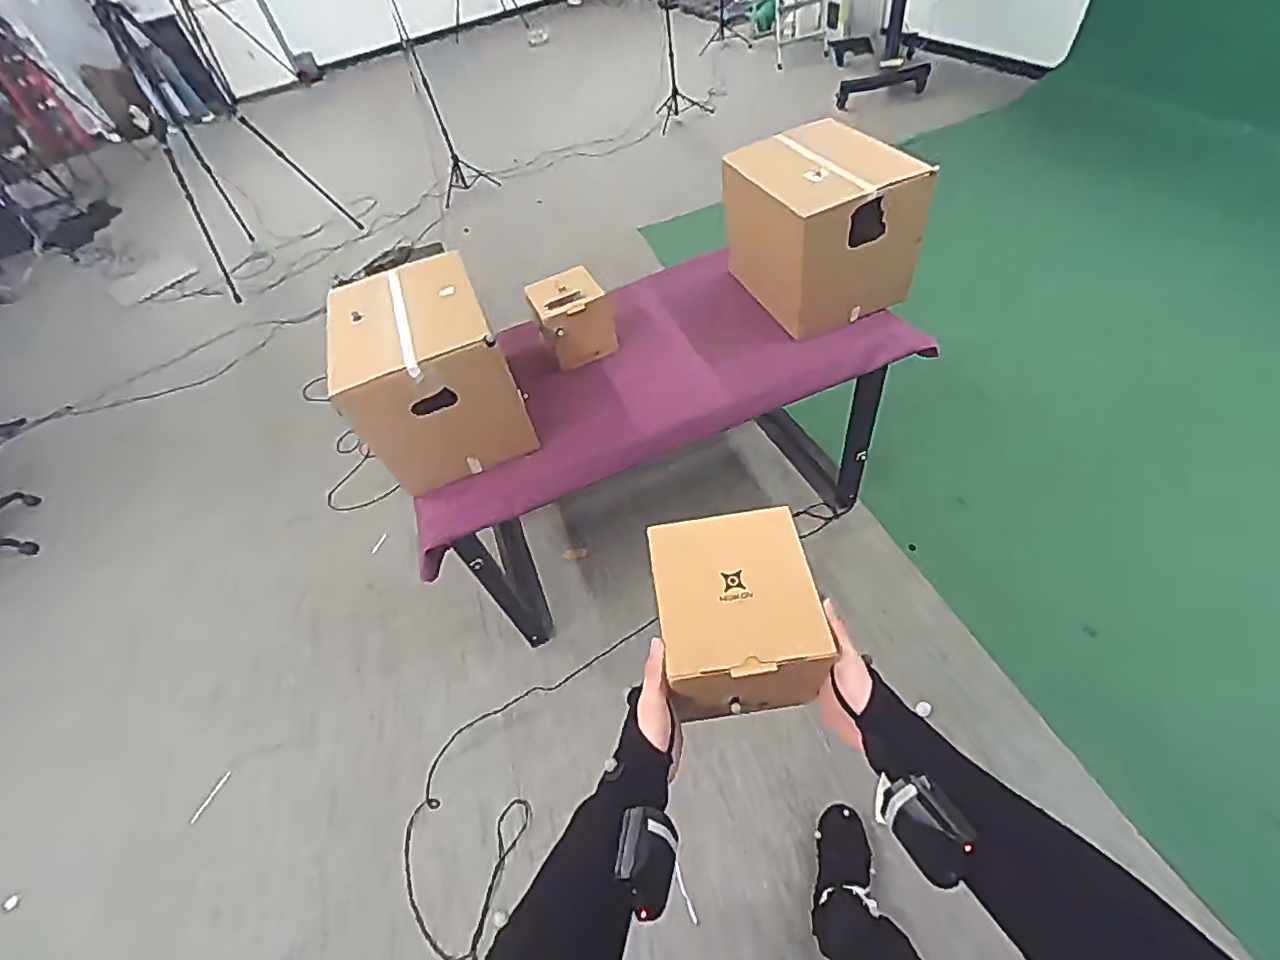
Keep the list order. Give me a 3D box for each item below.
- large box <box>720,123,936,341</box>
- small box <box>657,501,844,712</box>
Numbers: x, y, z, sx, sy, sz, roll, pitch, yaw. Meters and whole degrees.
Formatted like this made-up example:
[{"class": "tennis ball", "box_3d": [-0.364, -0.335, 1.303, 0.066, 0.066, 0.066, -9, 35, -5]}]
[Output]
[{"class": "large box", "box_3d": [0.428, -0.618, 1.341, 0.320, 0.320, 0.408, -23, 51, -5]}, {"class": "small box", "box_3d": [0.113, 0.150, 0.630, 0.168, 0.176, 0.179, -9, 54, 0]}]
